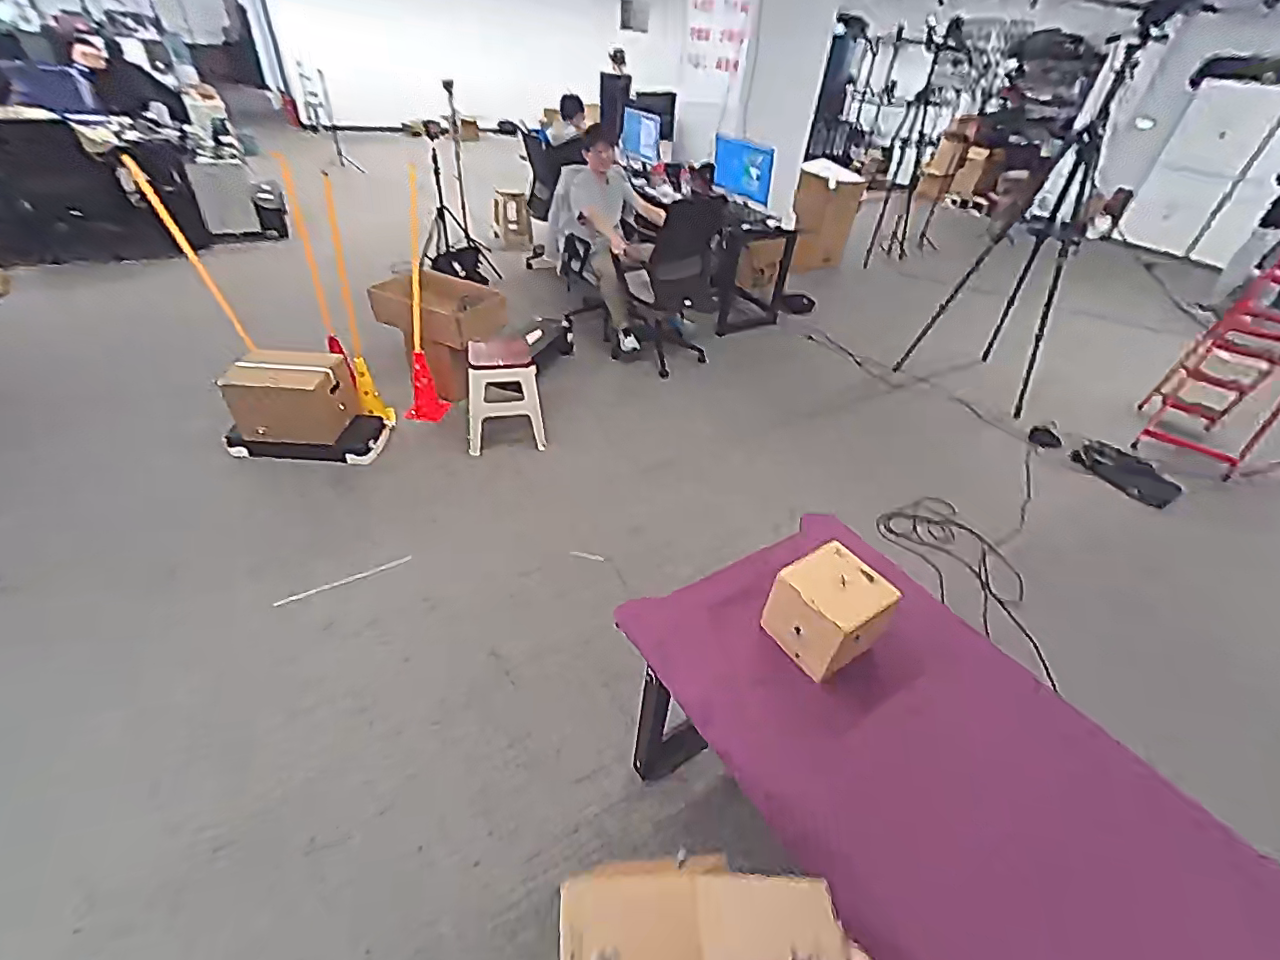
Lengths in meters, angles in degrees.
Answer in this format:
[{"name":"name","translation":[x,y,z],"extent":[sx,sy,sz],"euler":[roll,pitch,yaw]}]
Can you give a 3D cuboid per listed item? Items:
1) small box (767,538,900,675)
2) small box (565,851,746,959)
[{"name":"small box","translation":[0.374,0.253,1.080],"extent":[0.179,0.176,0.168],"euler":[-21,47,-28]},{"name":"small box","translation":[0.022,0.544,0.637],"extent":[0.176,0.179,0.168],"euler":[-14,58,16]}]
